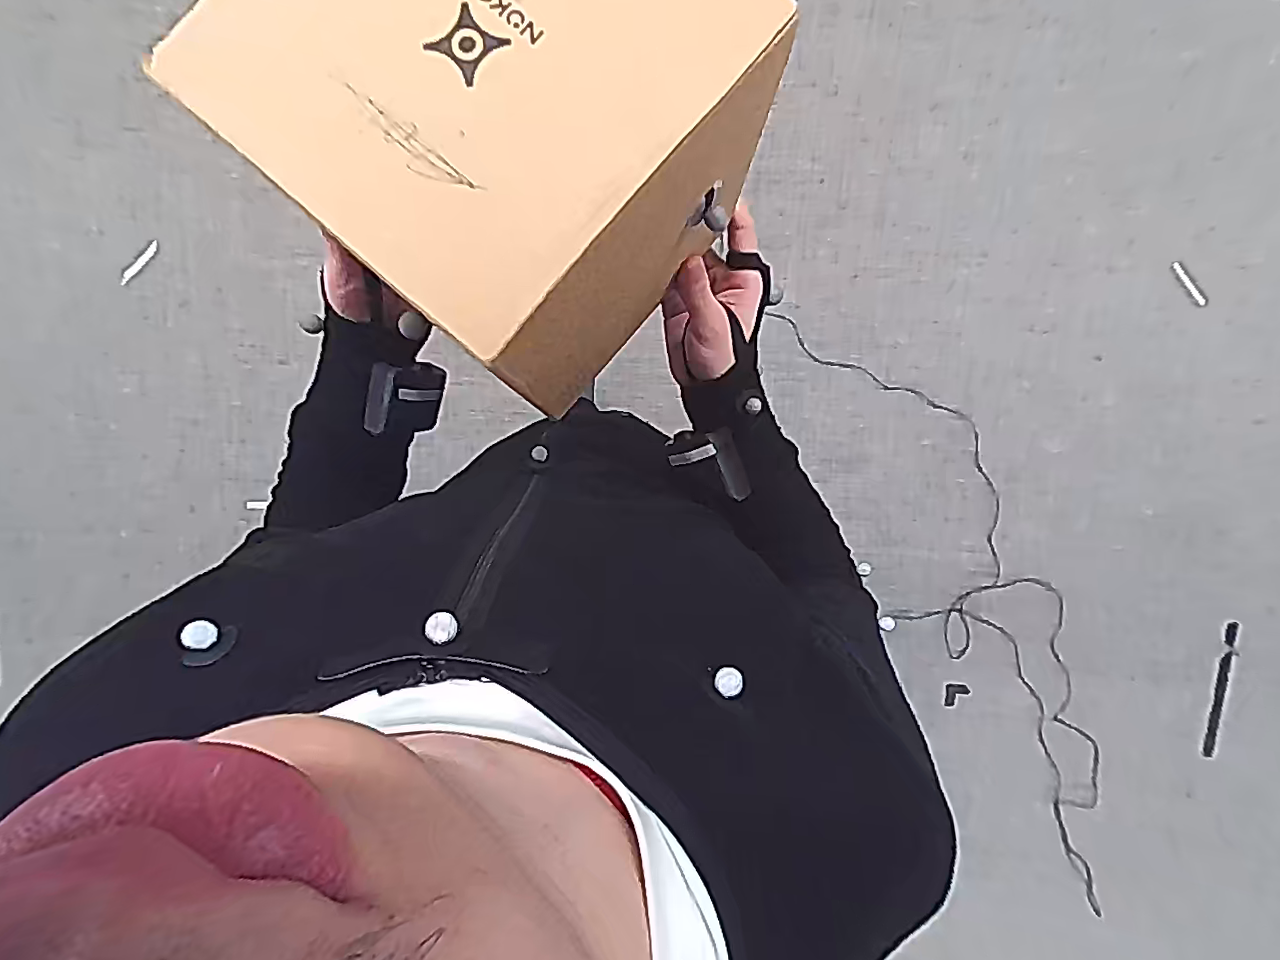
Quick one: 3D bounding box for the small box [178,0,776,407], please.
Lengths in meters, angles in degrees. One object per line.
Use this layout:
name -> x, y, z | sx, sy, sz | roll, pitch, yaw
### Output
small box -> -0.063, -0.161, 0.288 | 0.168, 0.176, 0.179 | 40, 90, 0
